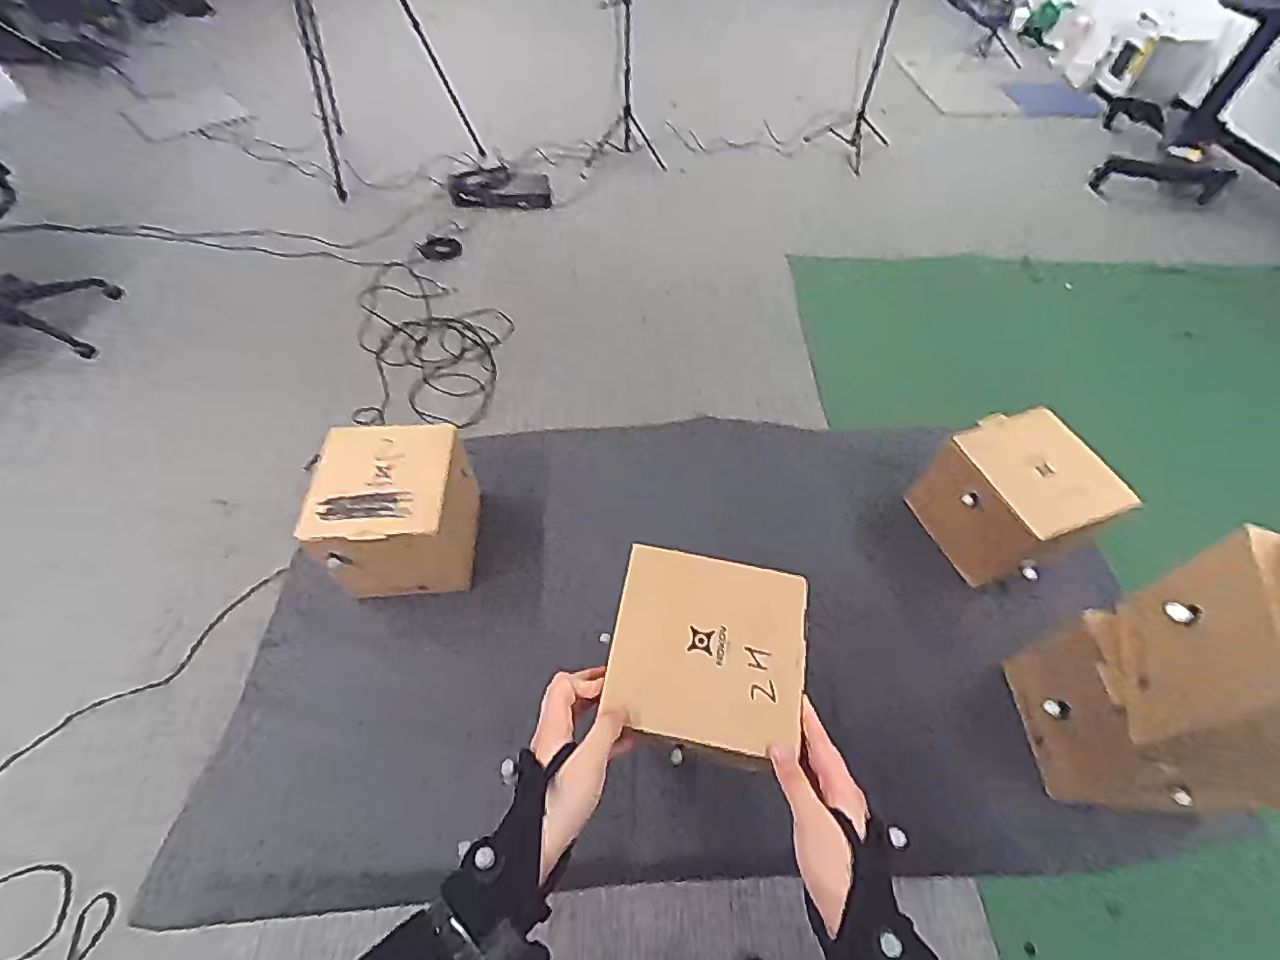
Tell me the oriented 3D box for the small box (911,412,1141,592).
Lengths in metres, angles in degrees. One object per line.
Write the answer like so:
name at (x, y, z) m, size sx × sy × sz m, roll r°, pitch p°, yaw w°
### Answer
small box at (0.534, 0.034, 0.782) m, size 0.168 × 0.176 × 0.179 m, roll -16°, pitch 58°, yaw -10°

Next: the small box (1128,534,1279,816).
small box at (0.577, 0.182, 0.473) m, size 0.179 × 0.176 × 0.168 m, roll 21°, pitch 54°, yaw 14°

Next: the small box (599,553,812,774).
small box at (0.061, 0.195, 0.555) m, size 0.179 × 0.176 × 0.168 m, roll 11°, pitch 61°, yaw 3°

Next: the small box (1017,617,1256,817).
small box at (0.569, 0.270, 0.610) m, size 0.179 × 0.176 × 0.168 m, roll 3°, pitch 51°, yaw 2°
